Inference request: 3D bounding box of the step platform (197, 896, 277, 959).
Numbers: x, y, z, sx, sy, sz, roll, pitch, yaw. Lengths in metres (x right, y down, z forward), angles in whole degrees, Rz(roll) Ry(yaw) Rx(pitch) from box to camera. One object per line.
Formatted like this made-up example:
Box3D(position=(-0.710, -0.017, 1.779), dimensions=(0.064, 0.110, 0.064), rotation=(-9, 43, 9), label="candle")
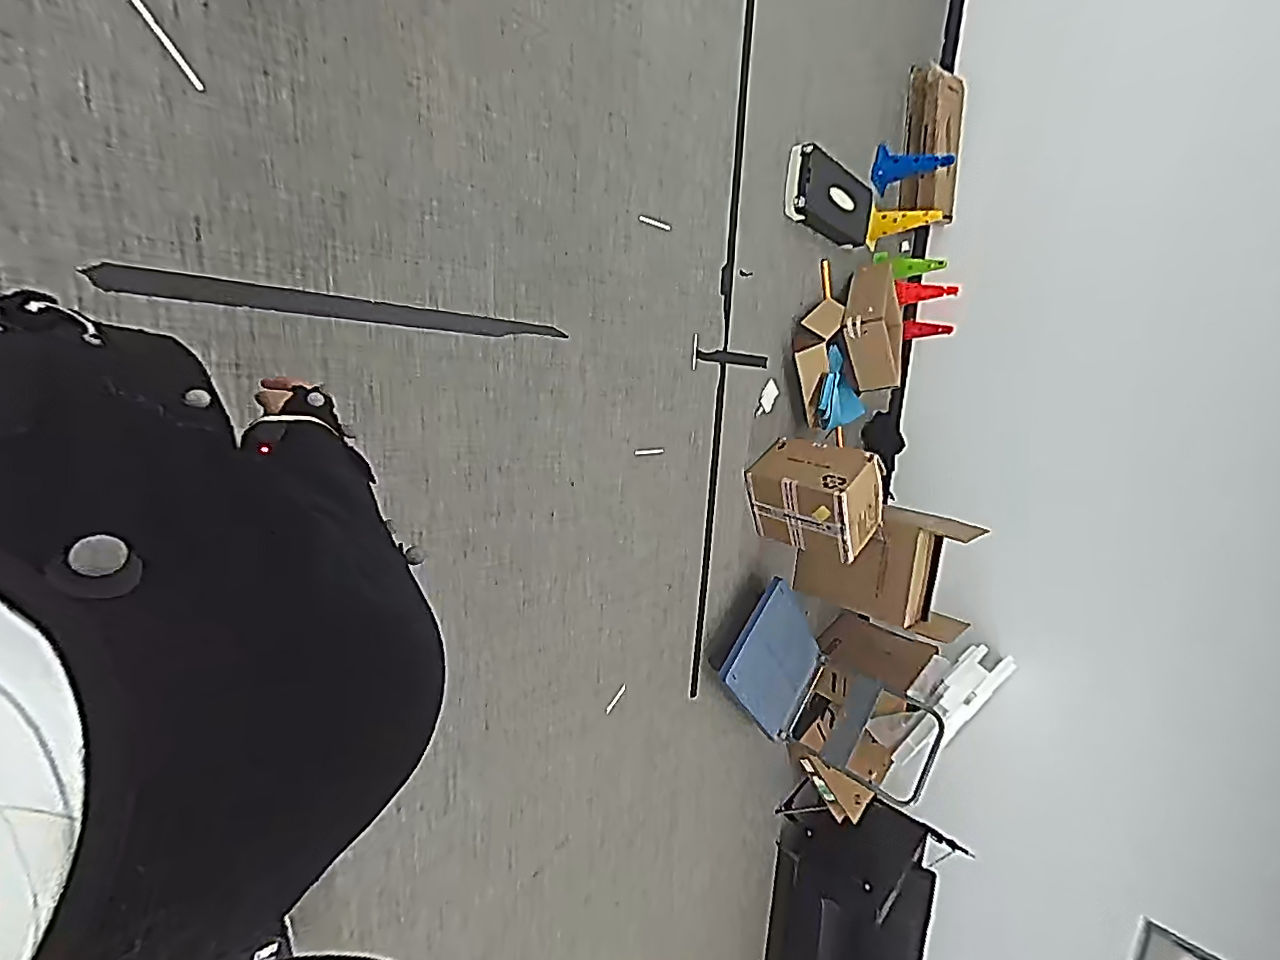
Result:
Box3D(position=(-1.116, 1.187, 1.063), dimensions=(0.684, 0.204, 0.286), rotation=(-8, 107, -46), label="step platform")
